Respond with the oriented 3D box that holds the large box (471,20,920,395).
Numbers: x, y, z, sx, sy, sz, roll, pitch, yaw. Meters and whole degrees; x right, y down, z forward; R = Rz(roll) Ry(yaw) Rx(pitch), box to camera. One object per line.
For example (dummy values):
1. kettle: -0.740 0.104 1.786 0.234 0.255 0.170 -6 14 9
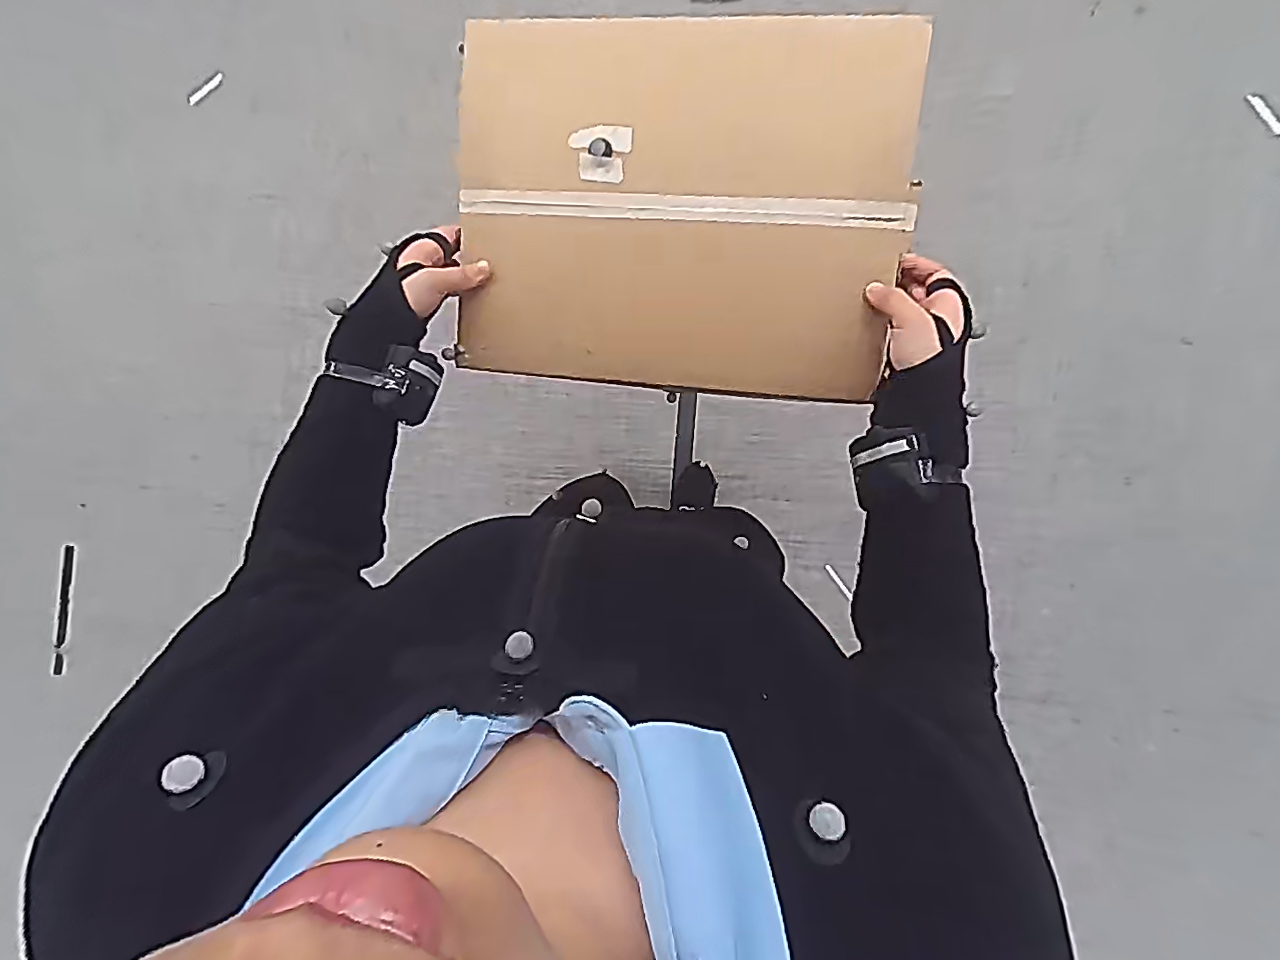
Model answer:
1. large box: 0.059 -0.267 0.647 0.408 0.320 0.320 6 98 10
